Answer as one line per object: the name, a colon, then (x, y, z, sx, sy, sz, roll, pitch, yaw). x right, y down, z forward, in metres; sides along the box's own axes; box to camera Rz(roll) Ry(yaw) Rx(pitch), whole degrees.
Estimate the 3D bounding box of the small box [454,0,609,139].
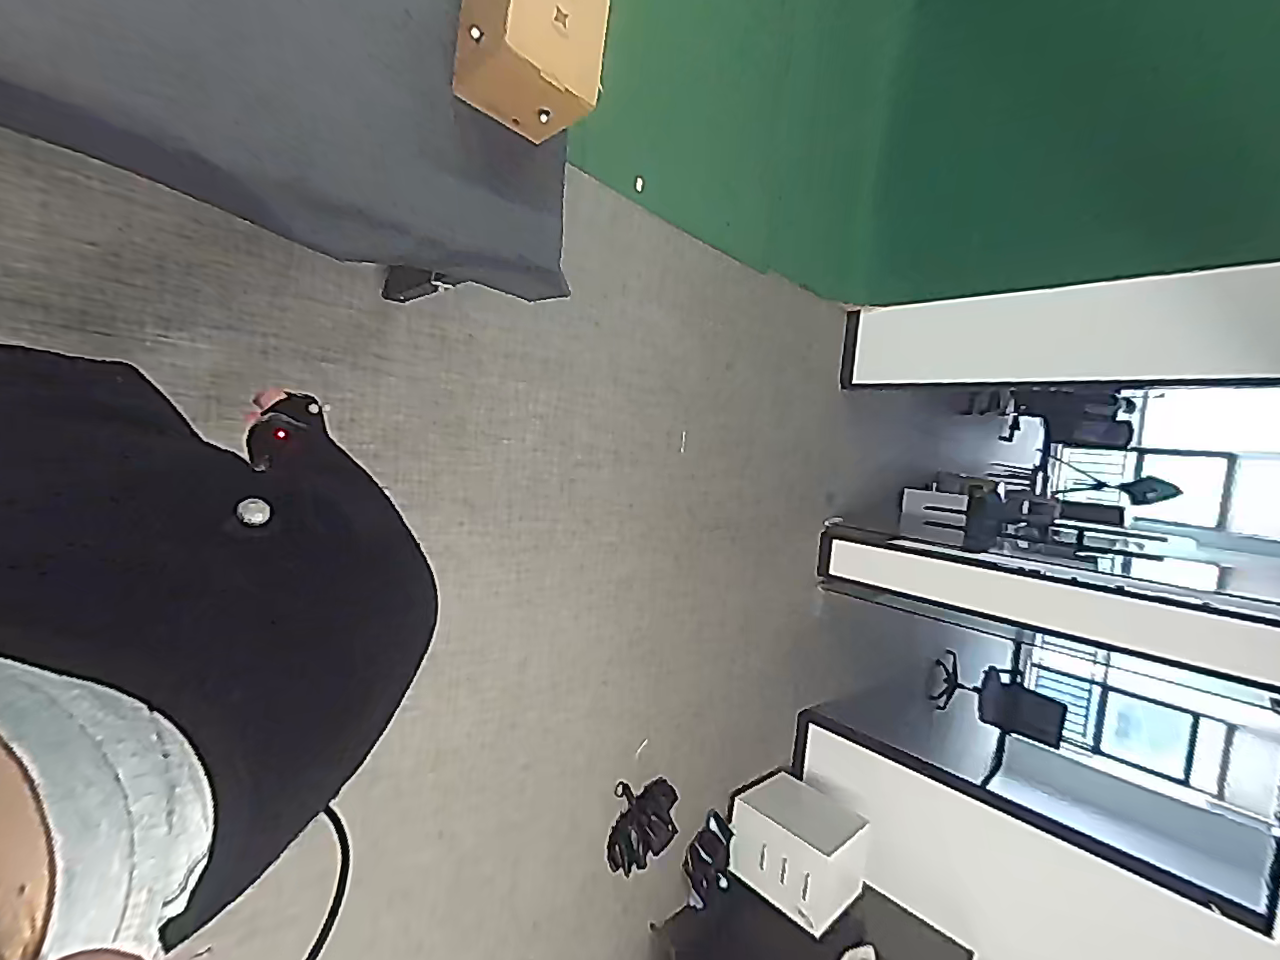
small box: (-0.172, -0.674, 0.838, 0.168, 0.176, 0.179, 5, 92, -46)
